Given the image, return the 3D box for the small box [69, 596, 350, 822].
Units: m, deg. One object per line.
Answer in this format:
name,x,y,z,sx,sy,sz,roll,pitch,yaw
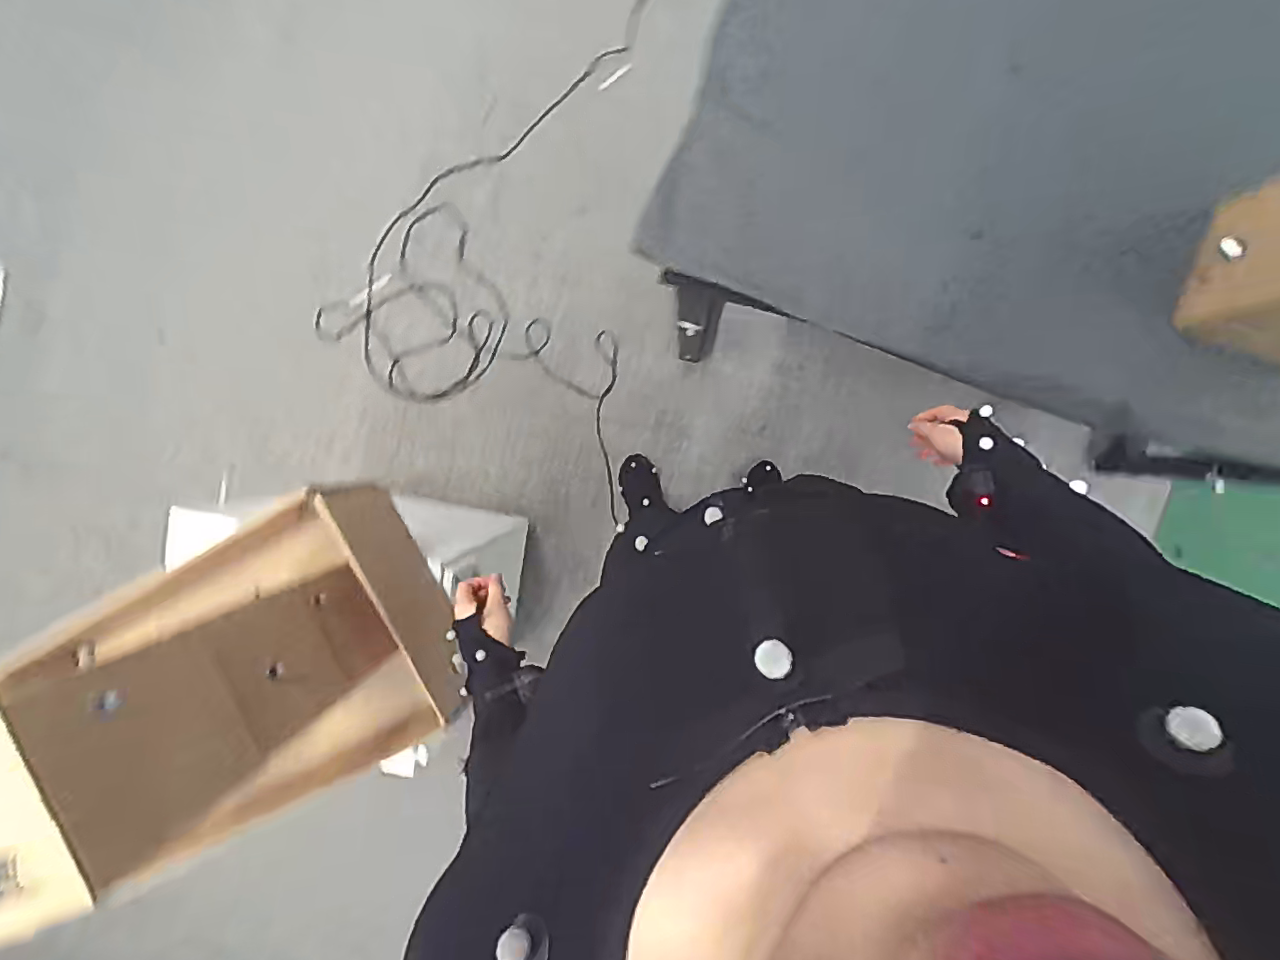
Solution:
small box,-0.507,0.260,0.664,0.168,0.176,0.179,-27,93,7
